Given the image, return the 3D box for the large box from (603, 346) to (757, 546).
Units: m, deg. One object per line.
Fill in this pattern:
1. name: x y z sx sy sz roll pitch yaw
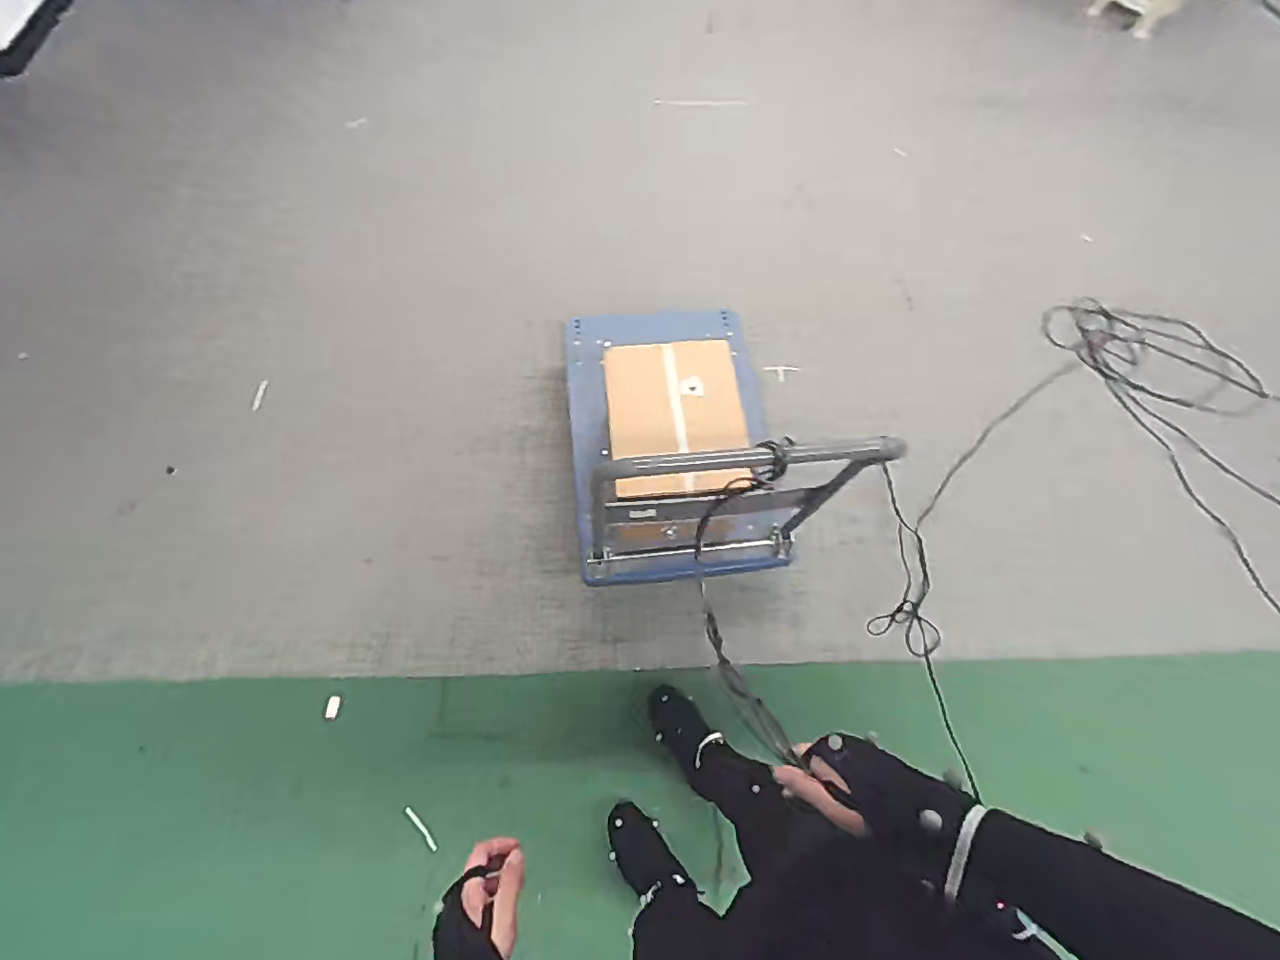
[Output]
1. large box: 0.079 -0.079 1.389 0.320 0.320 0.408 -4 64 -5
